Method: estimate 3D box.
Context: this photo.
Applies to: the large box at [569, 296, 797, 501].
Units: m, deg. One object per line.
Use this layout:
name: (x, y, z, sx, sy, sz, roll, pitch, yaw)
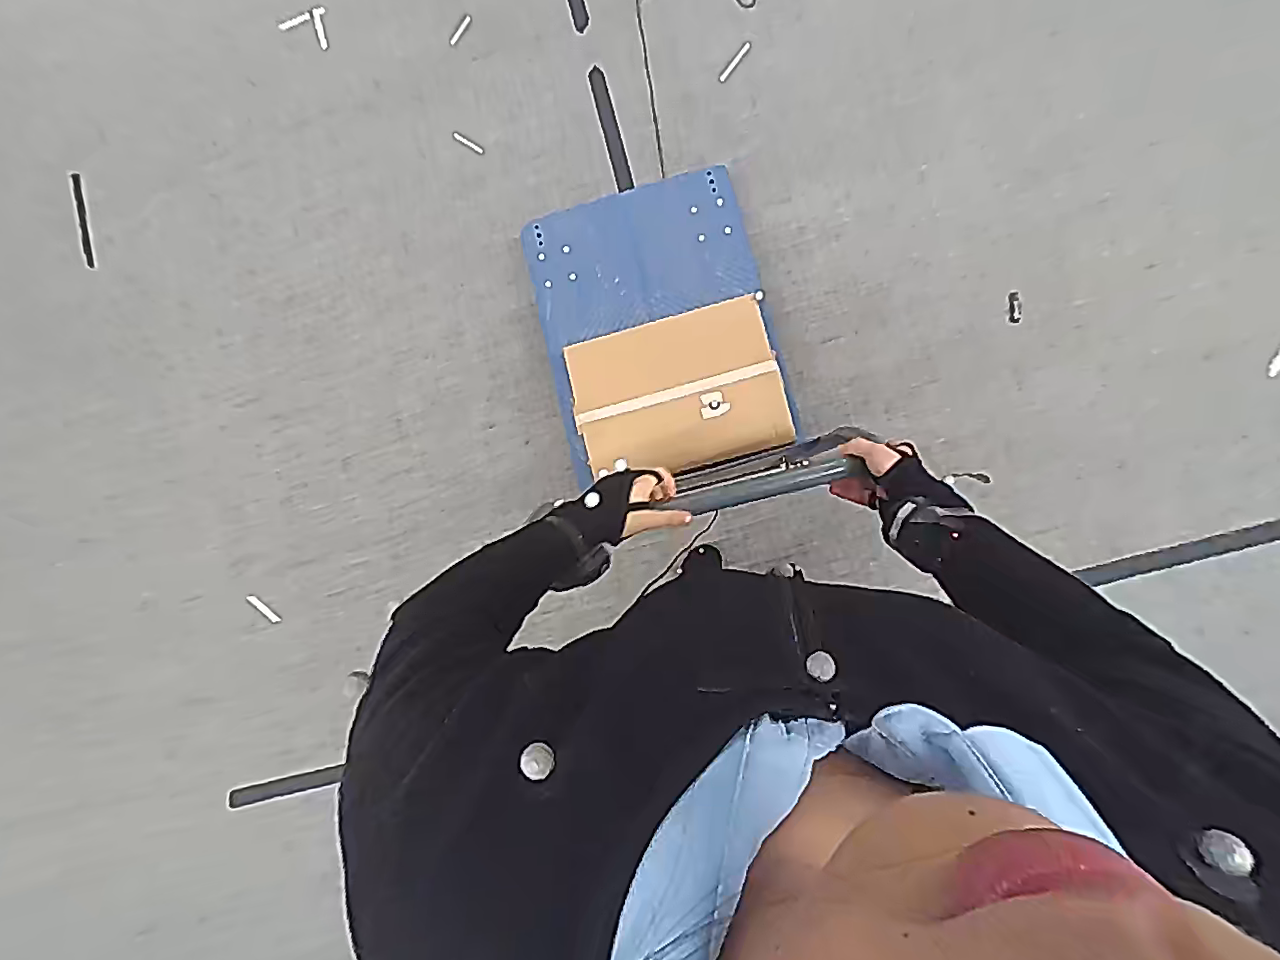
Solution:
large box: (0.095, -0.158, 1.231, 0.408, 0.320, 0.320, -15, 84, 5)
